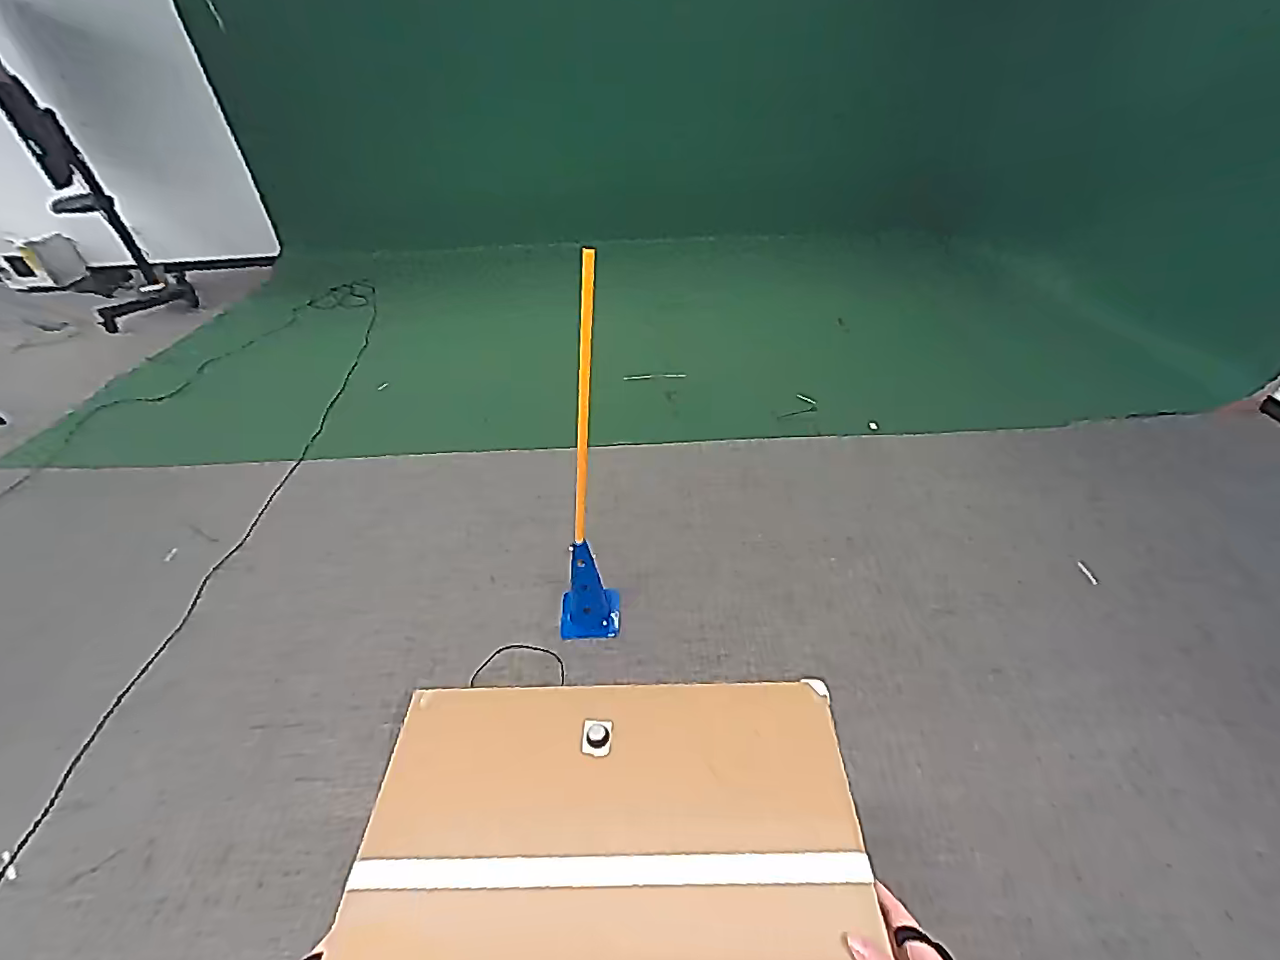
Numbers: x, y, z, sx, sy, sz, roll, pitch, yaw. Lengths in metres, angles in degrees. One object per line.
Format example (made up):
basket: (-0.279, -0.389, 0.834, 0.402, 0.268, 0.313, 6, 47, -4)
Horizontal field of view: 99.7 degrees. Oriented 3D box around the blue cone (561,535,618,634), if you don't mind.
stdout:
blue cone: (-0.175, 0.312, 1.733, 0.193, 0.380, 0.192, -3, 40, -2)
